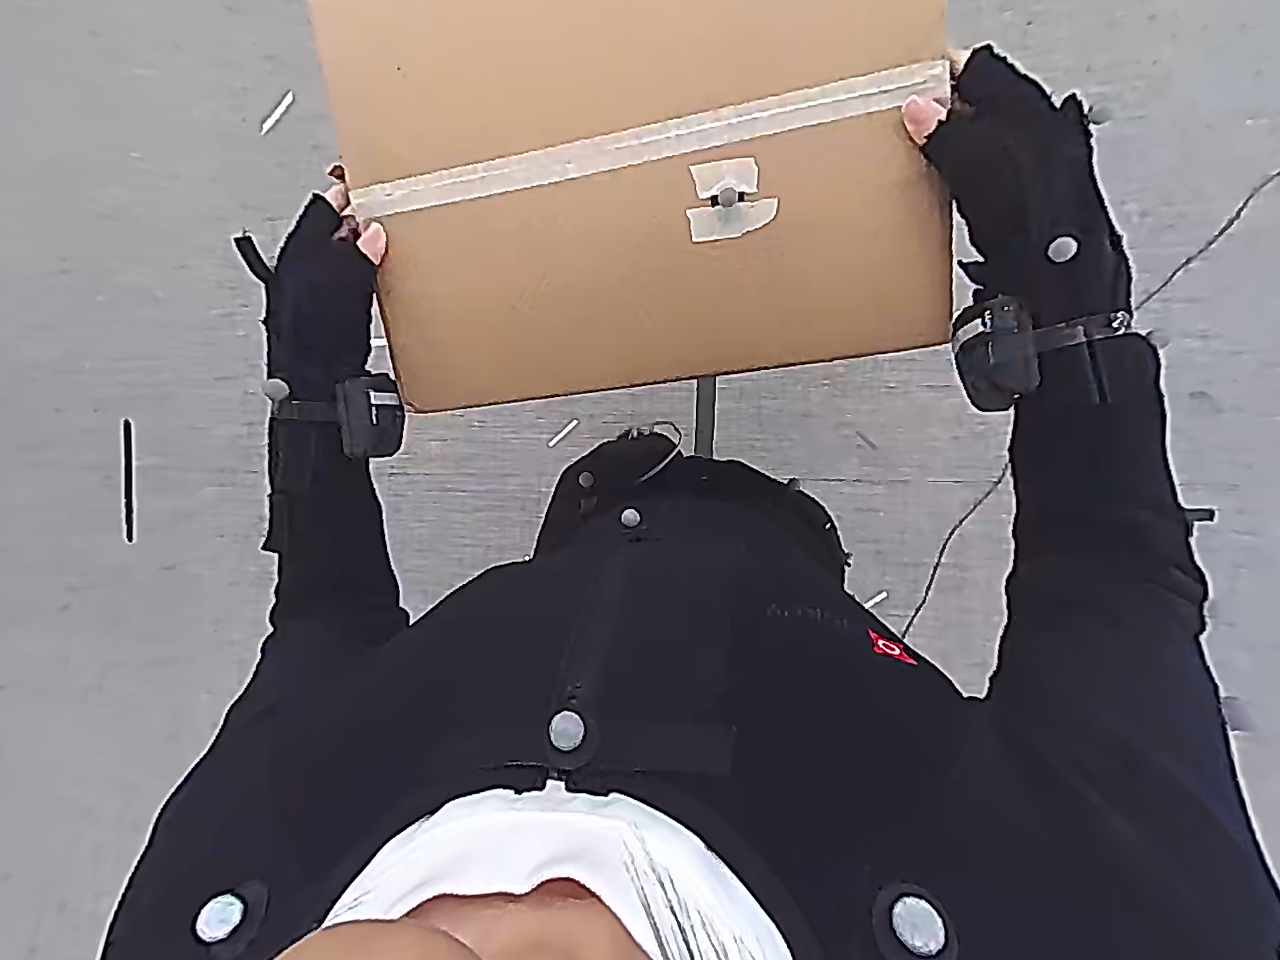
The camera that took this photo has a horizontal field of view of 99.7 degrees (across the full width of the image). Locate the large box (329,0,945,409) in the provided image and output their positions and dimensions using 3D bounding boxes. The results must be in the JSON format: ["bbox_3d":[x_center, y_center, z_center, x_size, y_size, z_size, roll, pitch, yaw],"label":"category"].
[{"bbox_3d":[0.013,-0.263,0.521,0.408,0.320,0.320,-7,103,10],"label":"large box"}]
